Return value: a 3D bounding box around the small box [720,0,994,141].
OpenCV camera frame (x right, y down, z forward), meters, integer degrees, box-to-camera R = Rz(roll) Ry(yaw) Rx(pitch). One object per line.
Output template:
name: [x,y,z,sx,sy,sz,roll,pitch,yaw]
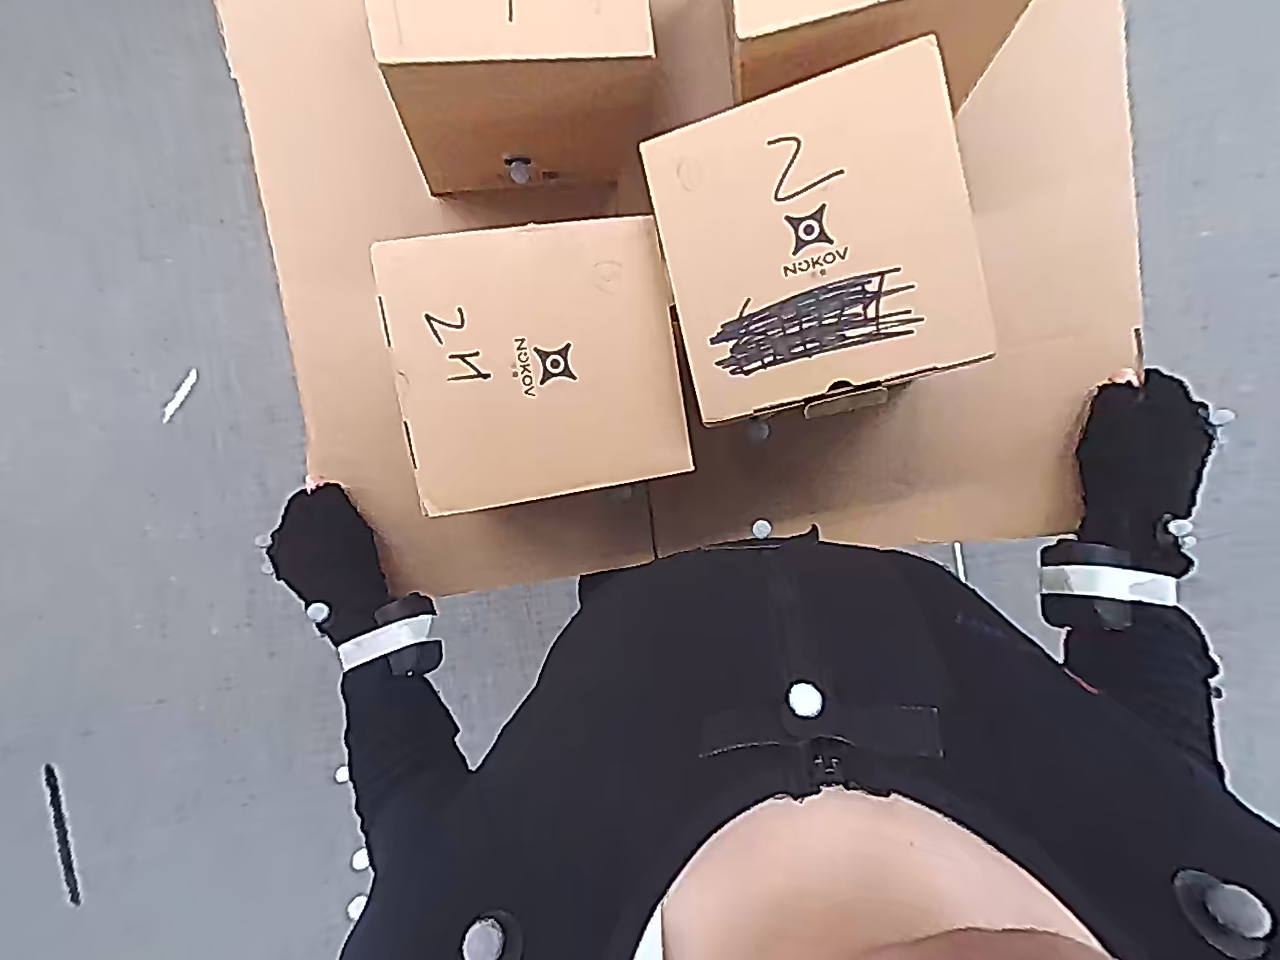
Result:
small box: [0.135,-0.359,0.360,0.168,0.176,0.179,-6,94,12]
